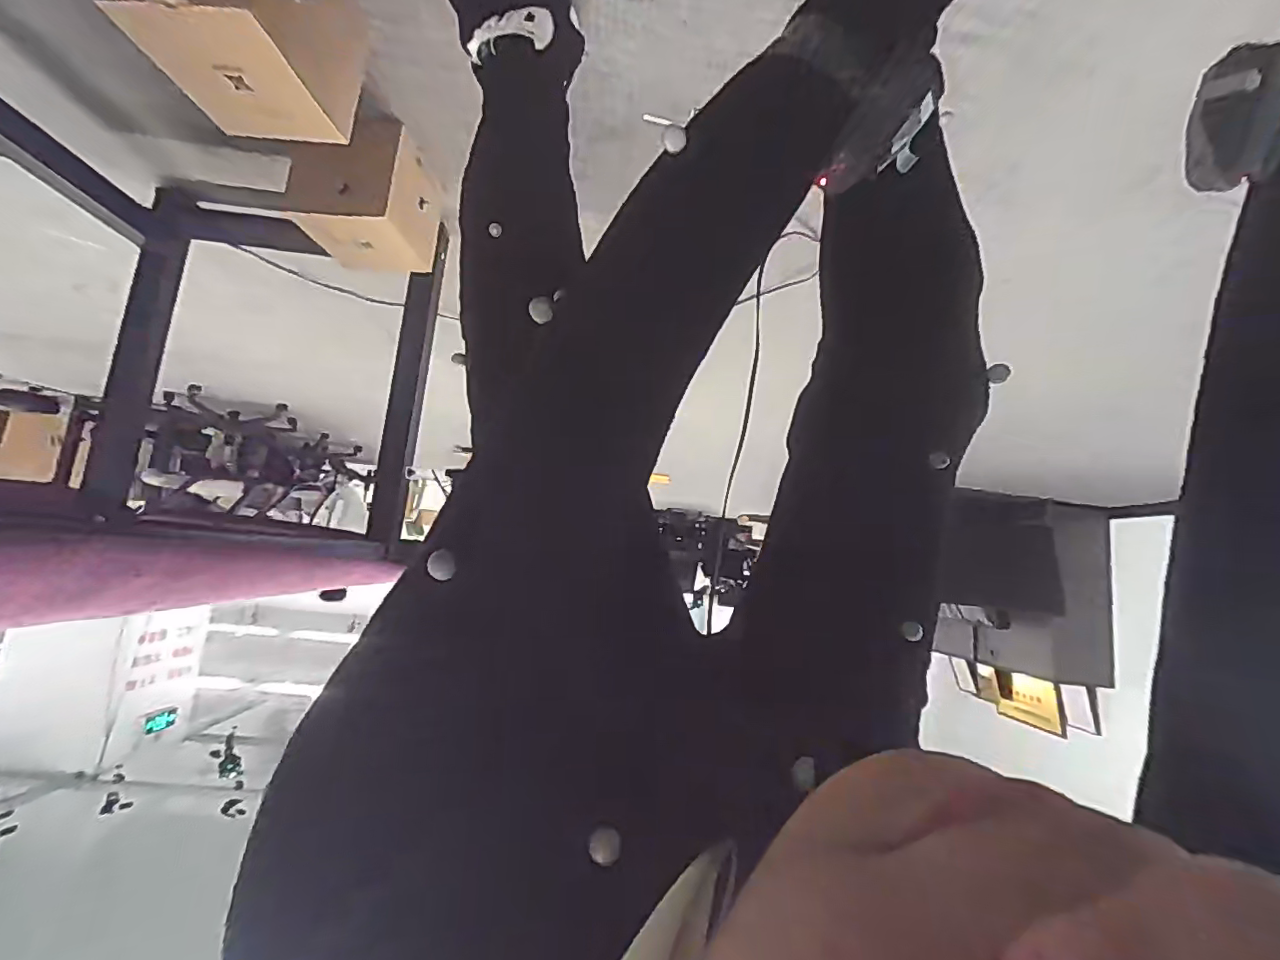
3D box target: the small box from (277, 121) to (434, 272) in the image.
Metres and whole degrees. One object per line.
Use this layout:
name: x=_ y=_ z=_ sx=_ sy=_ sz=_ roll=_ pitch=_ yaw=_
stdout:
small box: x=-0.464 y=-0.476 z=0.913 sx=0.179 sy=0.176 sz=0.168 roll=5 pitch=171 yaw=4

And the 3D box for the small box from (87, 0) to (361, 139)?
small box: x=-0.442 y=-0.523 z=0.599 sx=0.168 sy=0.176 sz=0.179 roll=6 pitch=172 yaw=2
